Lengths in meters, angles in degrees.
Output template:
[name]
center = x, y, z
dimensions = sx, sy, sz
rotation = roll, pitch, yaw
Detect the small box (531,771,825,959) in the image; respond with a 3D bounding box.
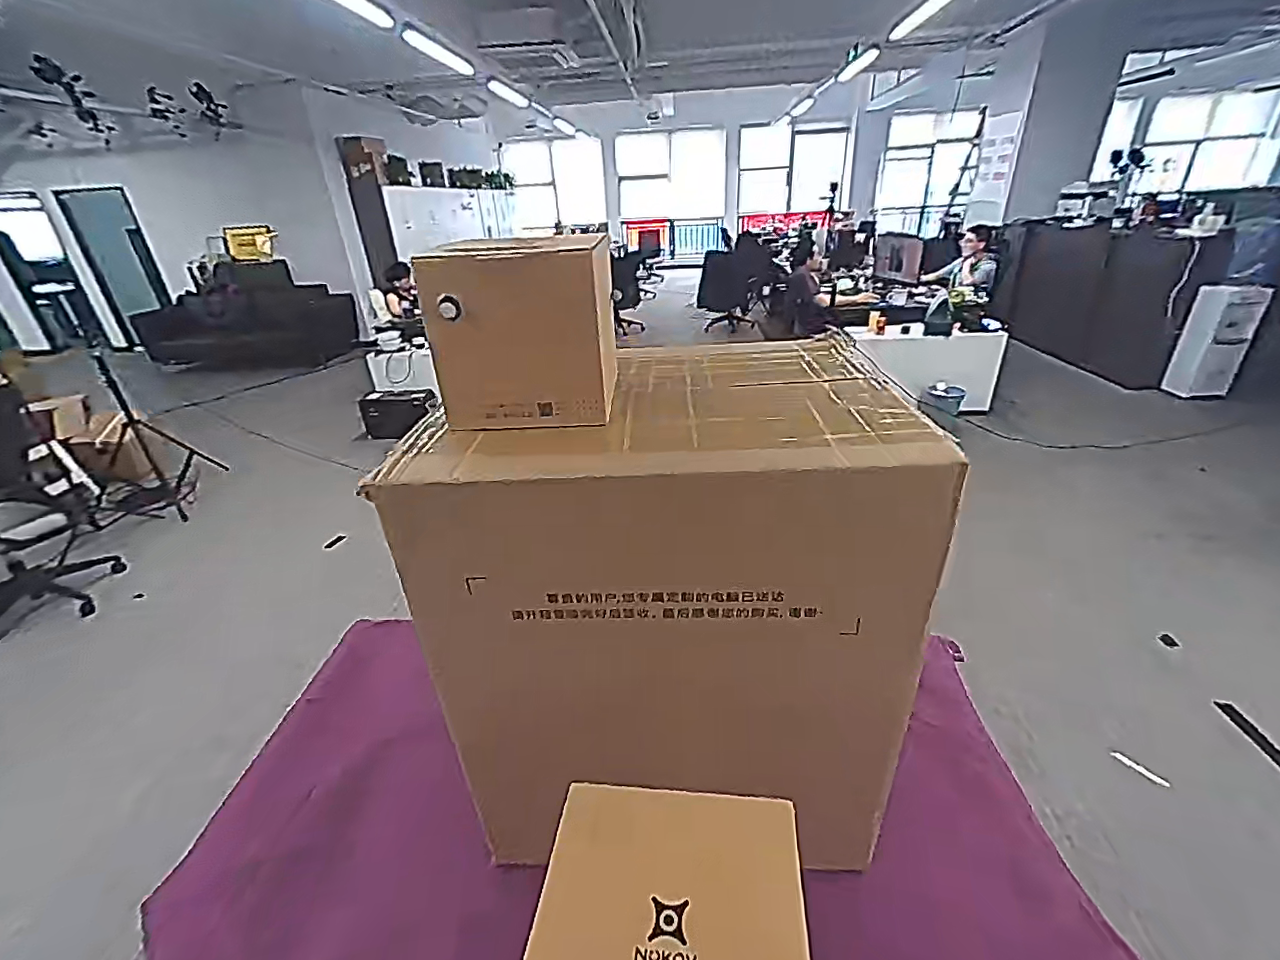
[small box]
center = 0.028, 0.331, 0.356
dimensions = 0.168, 0.176, 0.179
rotation = -1, 26, 9
